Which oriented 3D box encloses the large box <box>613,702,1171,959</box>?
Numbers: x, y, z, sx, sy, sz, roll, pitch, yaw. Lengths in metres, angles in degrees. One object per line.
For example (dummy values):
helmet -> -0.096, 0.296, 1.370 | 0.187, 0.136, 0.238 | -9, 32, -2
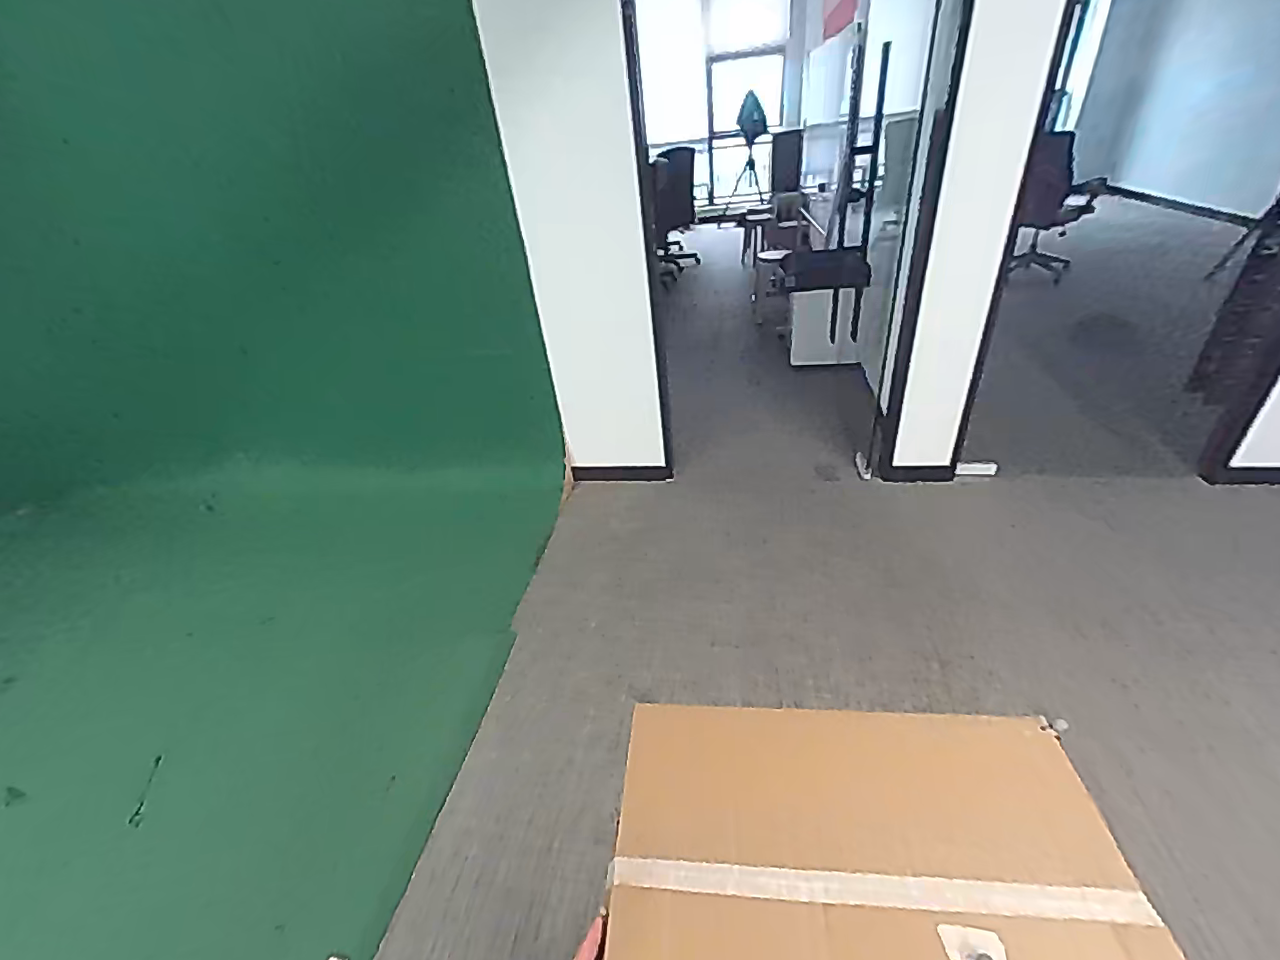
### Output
large box -> 0.191, 0.444, 0.518 | 0.408, 0.320, 0.320 | -1, 35, 7
